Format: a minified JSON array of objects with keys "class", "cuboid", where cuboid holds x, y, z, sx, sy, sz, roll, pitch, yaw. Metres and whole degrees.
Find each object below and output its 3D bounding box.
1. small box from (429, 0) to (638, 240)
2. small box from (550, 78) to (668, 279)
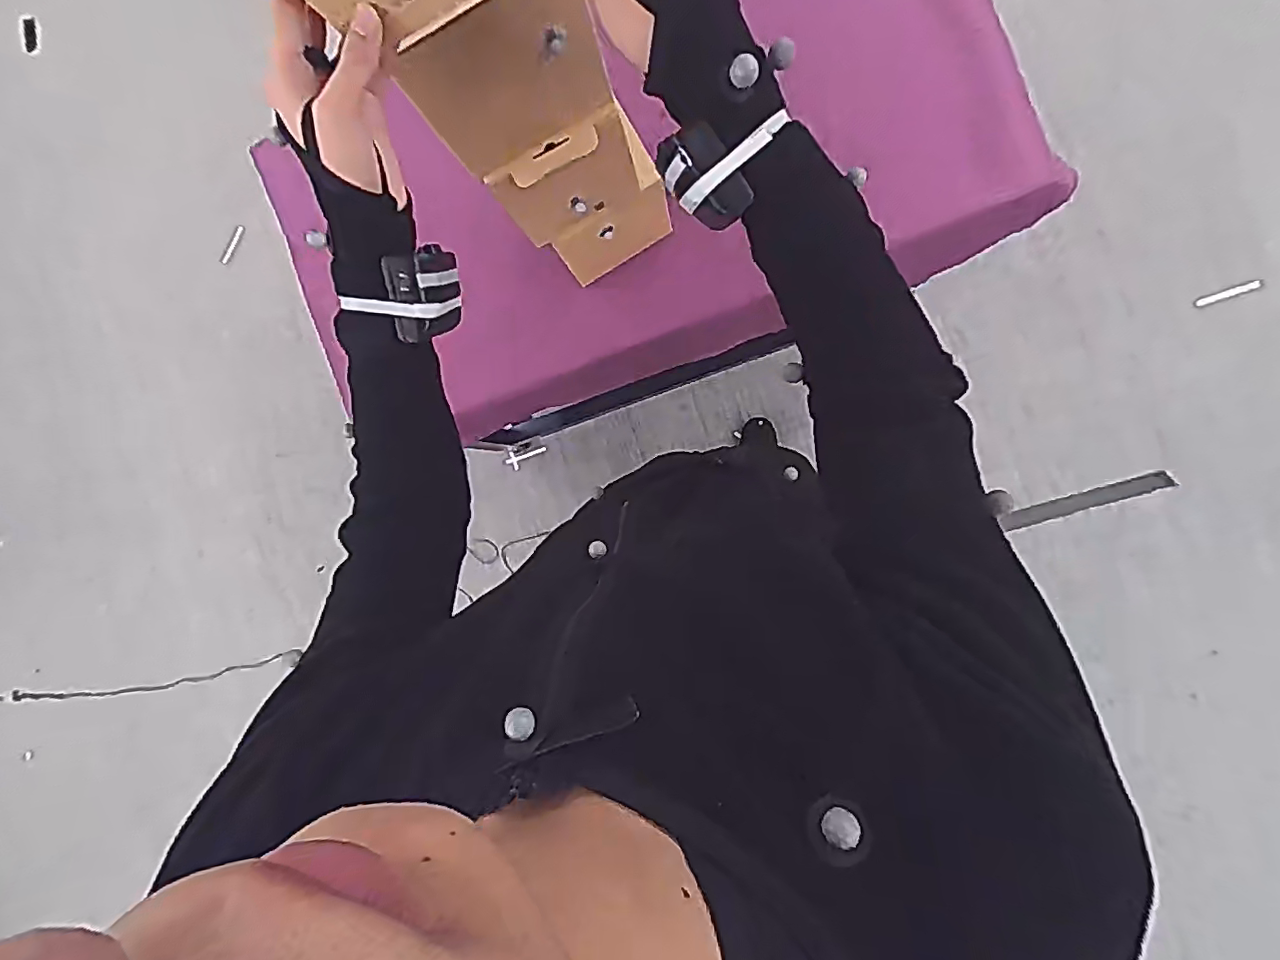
[{"class":"small box","cuboid":[-0.117,-0.437,0.664,0.168,0.176,0.179,-24,87,9]},{"class":"small box","cuboid":[-0.072,-0.440,0.823,0.179,0.176,0.168,-30,87,7]}]
